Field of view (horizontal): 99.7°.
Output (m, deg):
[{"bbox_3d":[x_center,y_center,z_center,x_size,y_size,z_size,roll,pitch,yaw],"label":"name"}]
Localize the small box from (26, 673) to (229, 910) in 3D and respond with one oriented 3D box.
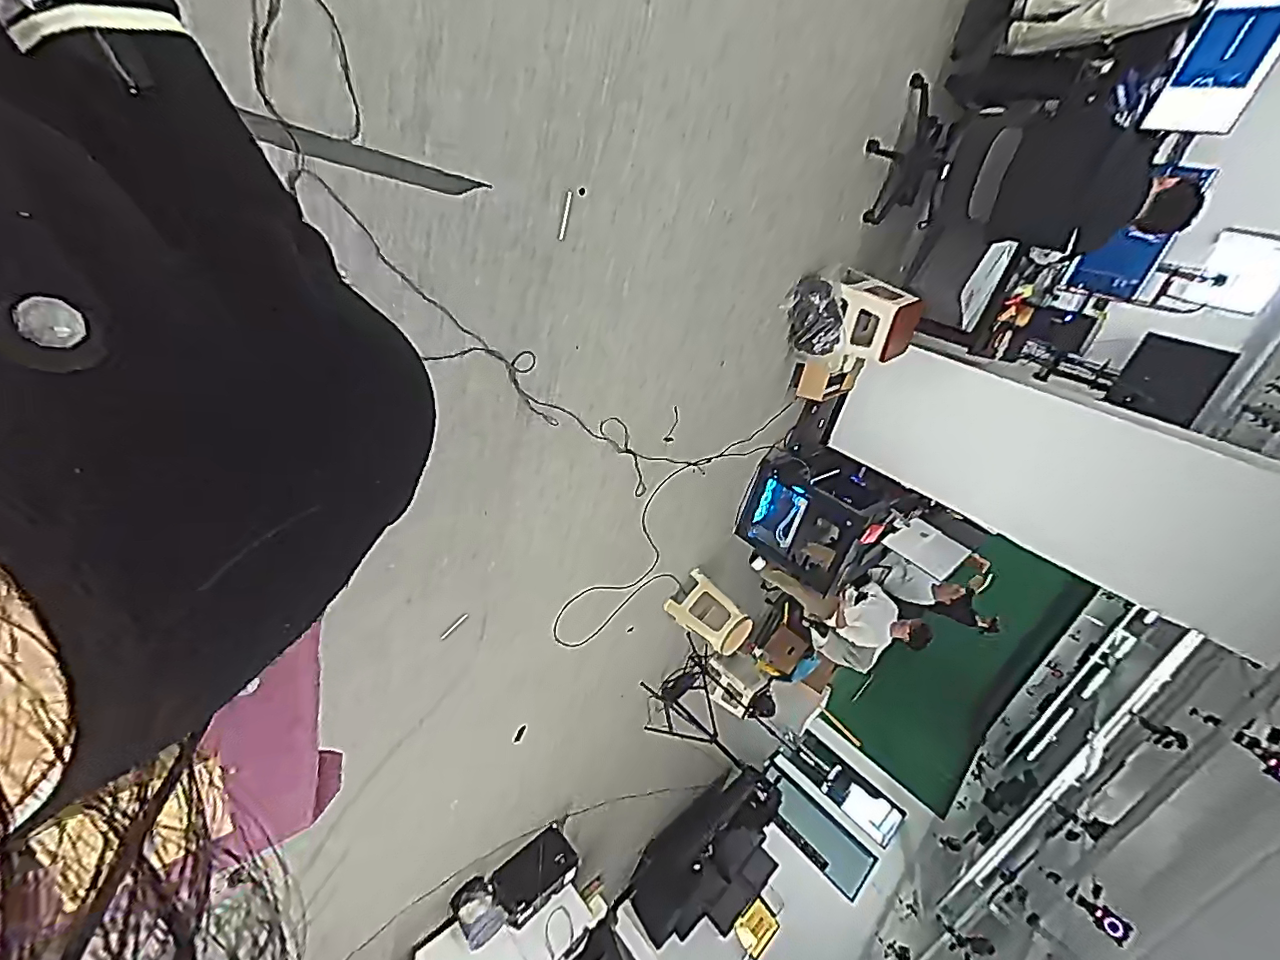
[{"bbox_3d":[-0.672,0.398,0.718,0.168,0.176,0.179,-15,129,-45],"label":"small box"}]
